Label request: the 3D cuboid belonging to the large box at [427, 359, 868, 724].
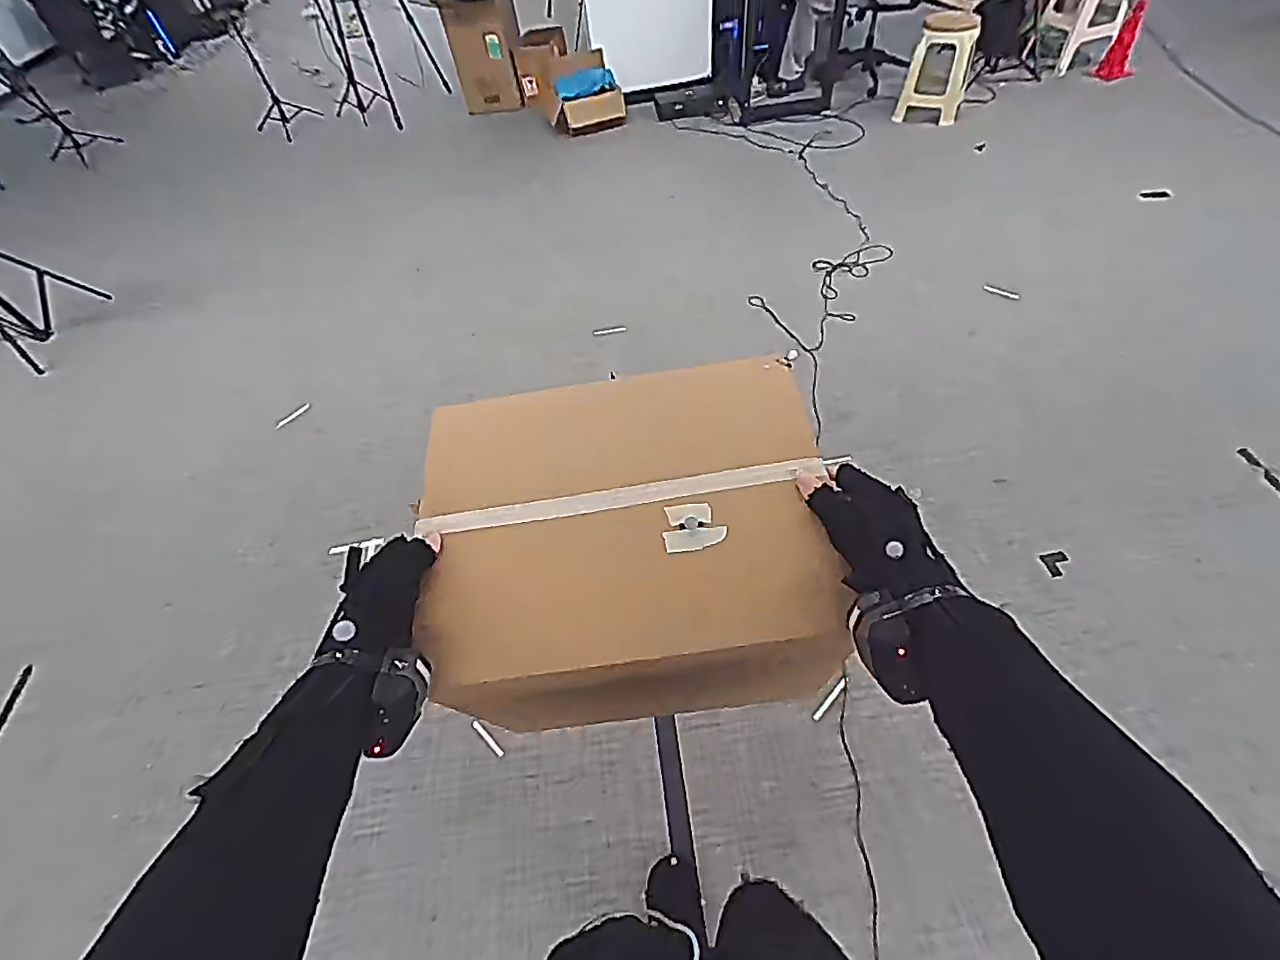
[{"bbox_3d":[0.001,0.094,0.677,0.408,0.320,0.320,-8,59,1],"label":"large box"}]
